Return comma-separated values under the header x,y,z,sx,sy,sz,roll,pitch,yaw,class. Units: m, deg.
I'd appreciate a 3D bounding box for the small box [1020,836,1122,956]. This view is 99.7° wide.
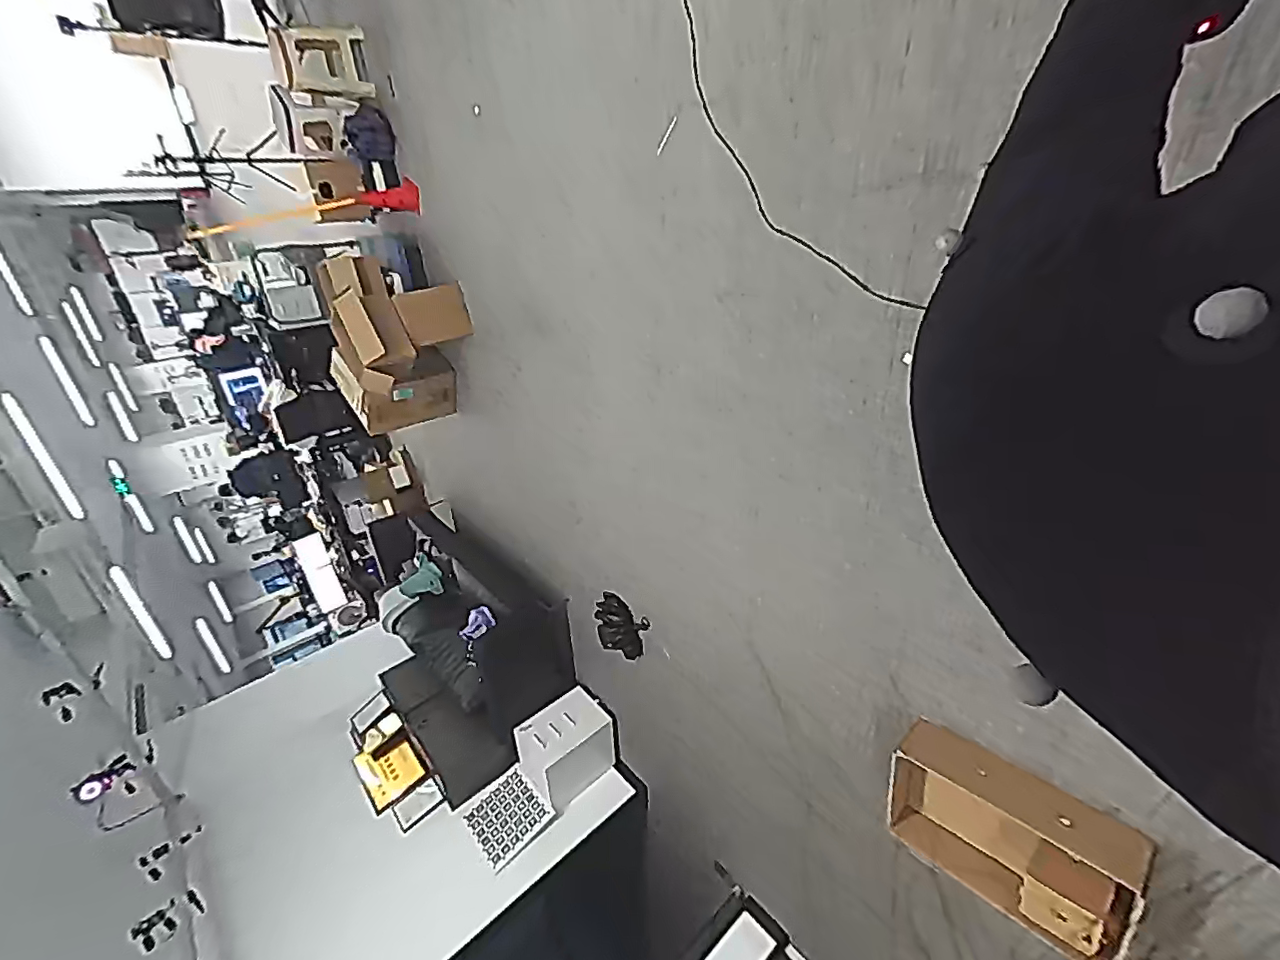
x,y,z,sx,sy,sz,roll,pitch,yaw,class
1.195,1.137,1.502,0.179,0.176,0.168,16,124,49,small box
